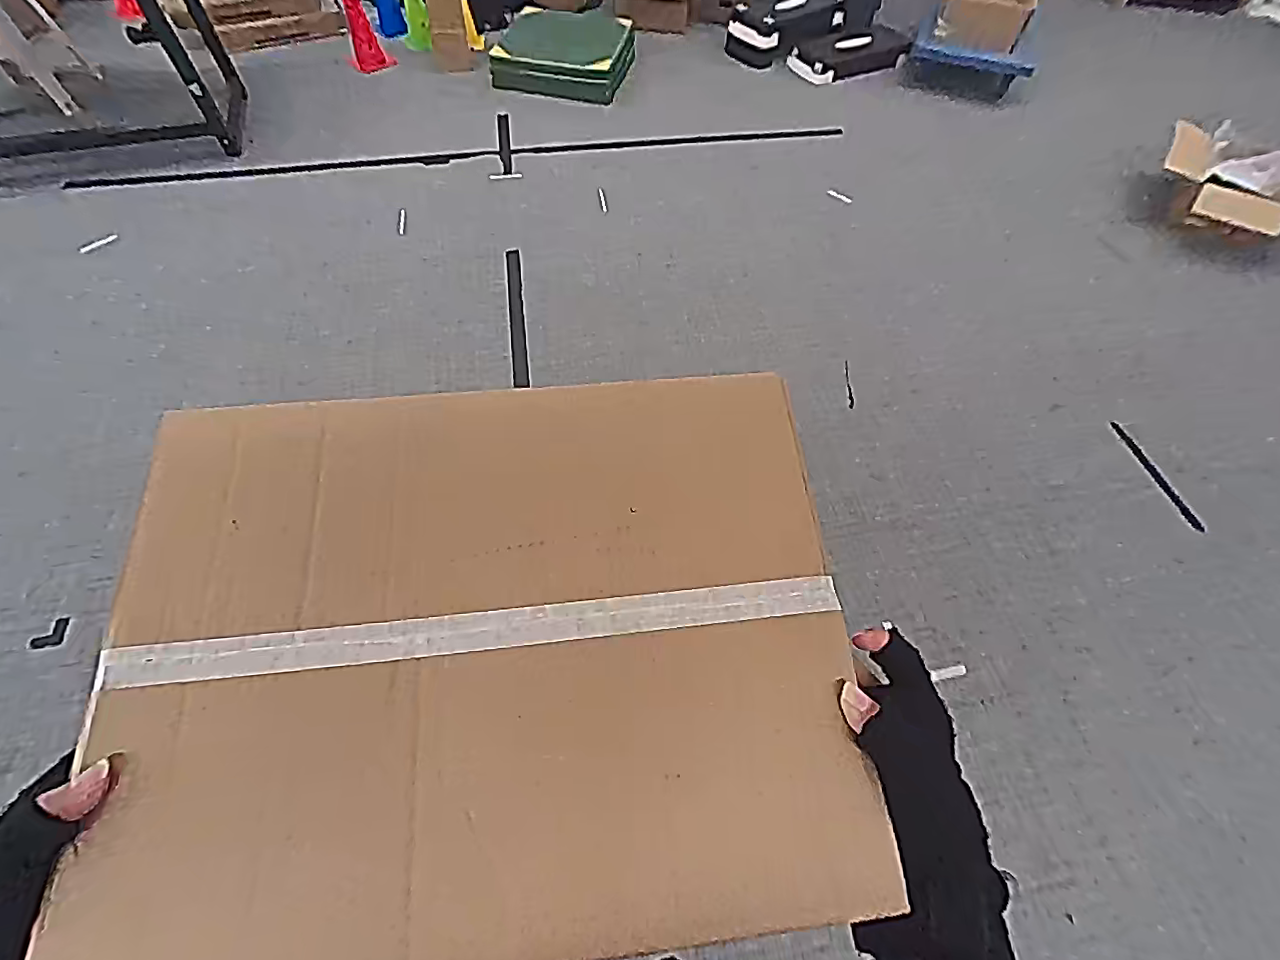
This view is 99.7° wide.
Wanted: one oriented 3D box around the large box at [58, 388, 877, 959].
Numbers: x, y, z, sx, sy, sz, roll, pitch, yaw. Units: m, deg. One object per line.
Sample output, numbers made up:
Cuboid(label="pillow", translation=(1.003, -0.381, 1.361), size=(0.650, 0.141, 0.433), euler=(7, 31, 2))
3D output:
Cuboid(label="large box", translation=(-0.095, 0.147, 0.452), size=(0.408, 0.320, 0.320), euler=(-5, 68, -5))
